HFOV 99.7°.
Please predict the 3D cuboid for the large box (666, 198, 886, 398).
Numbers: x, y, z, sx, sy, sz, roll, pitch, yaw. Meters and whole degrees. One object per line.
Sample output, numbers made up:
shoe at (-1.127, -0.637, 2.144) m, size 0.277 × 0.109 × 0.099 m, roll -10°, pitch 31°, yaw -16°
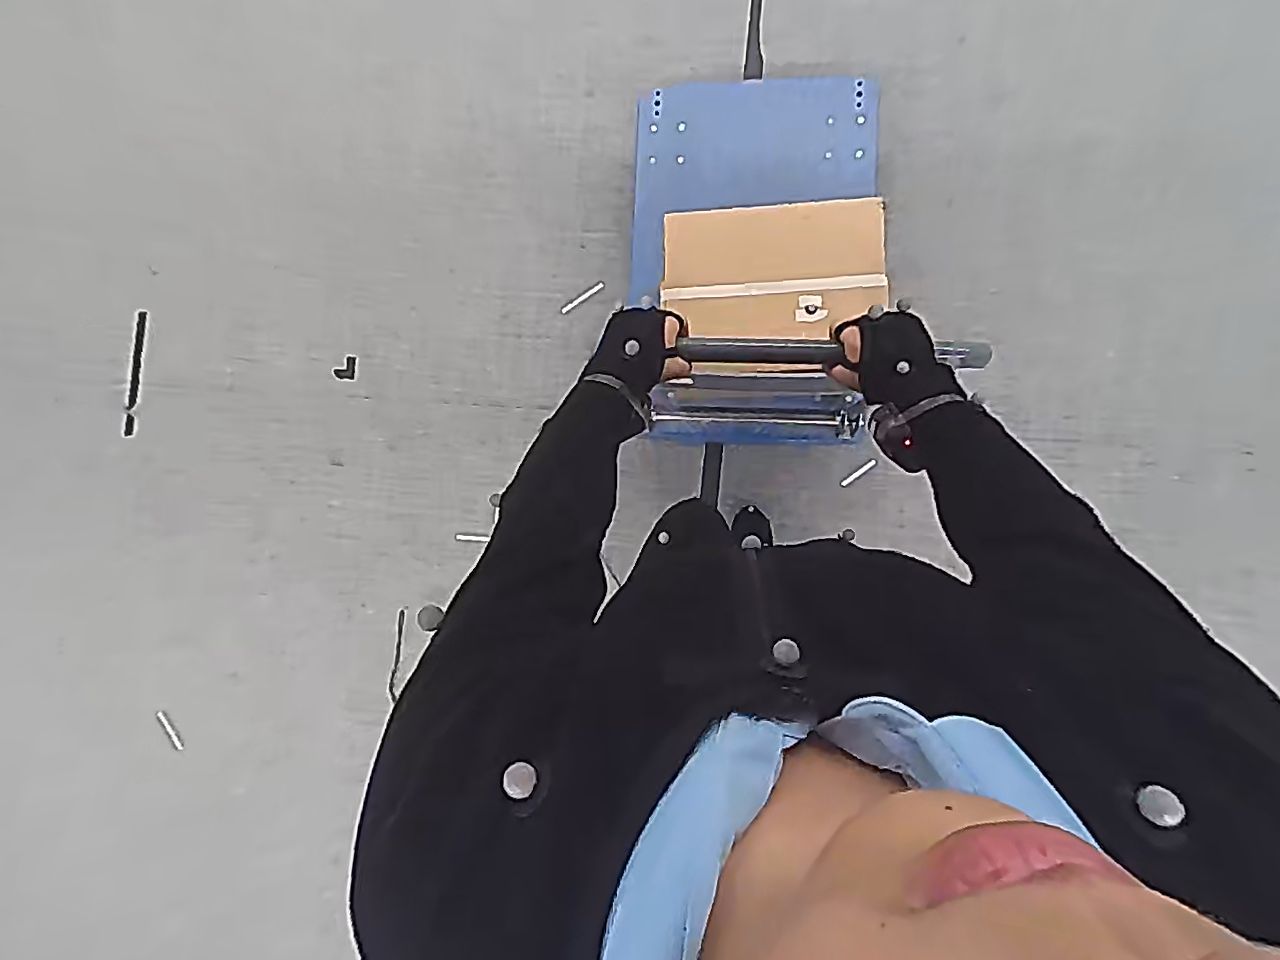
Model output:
large box at (0.267, -0.364, 1.170) m, size 0.408 × 0.320 × 0.320 m, roll -1°, pitch 90°, yaw 6°
